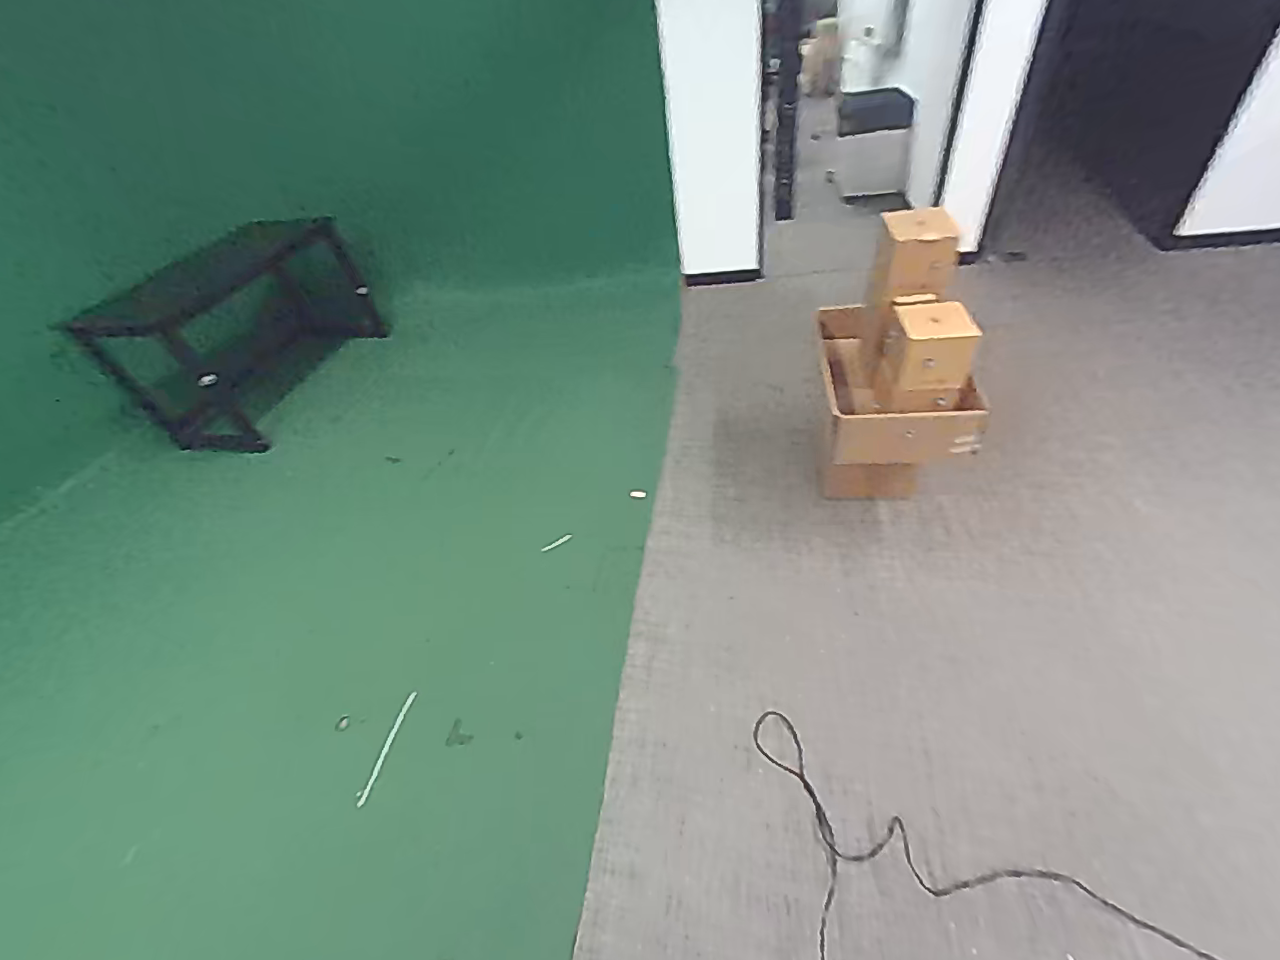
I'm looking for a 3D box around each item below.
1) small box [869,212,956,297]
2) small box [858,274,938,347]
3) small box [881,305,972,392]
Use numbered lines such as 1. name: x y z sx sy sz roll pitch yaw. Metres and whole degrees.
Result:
1. small box: 0.759 -0.629 1.525 0.168 0.176 0.179 -2 47 9
2. small box: 0.775 -0.519 1.645 0.168 0.176 0.179 -4 46 7
3. small box: 0.773 -0.353 1.476 0.168 0.176 0.179 -2 44 9
